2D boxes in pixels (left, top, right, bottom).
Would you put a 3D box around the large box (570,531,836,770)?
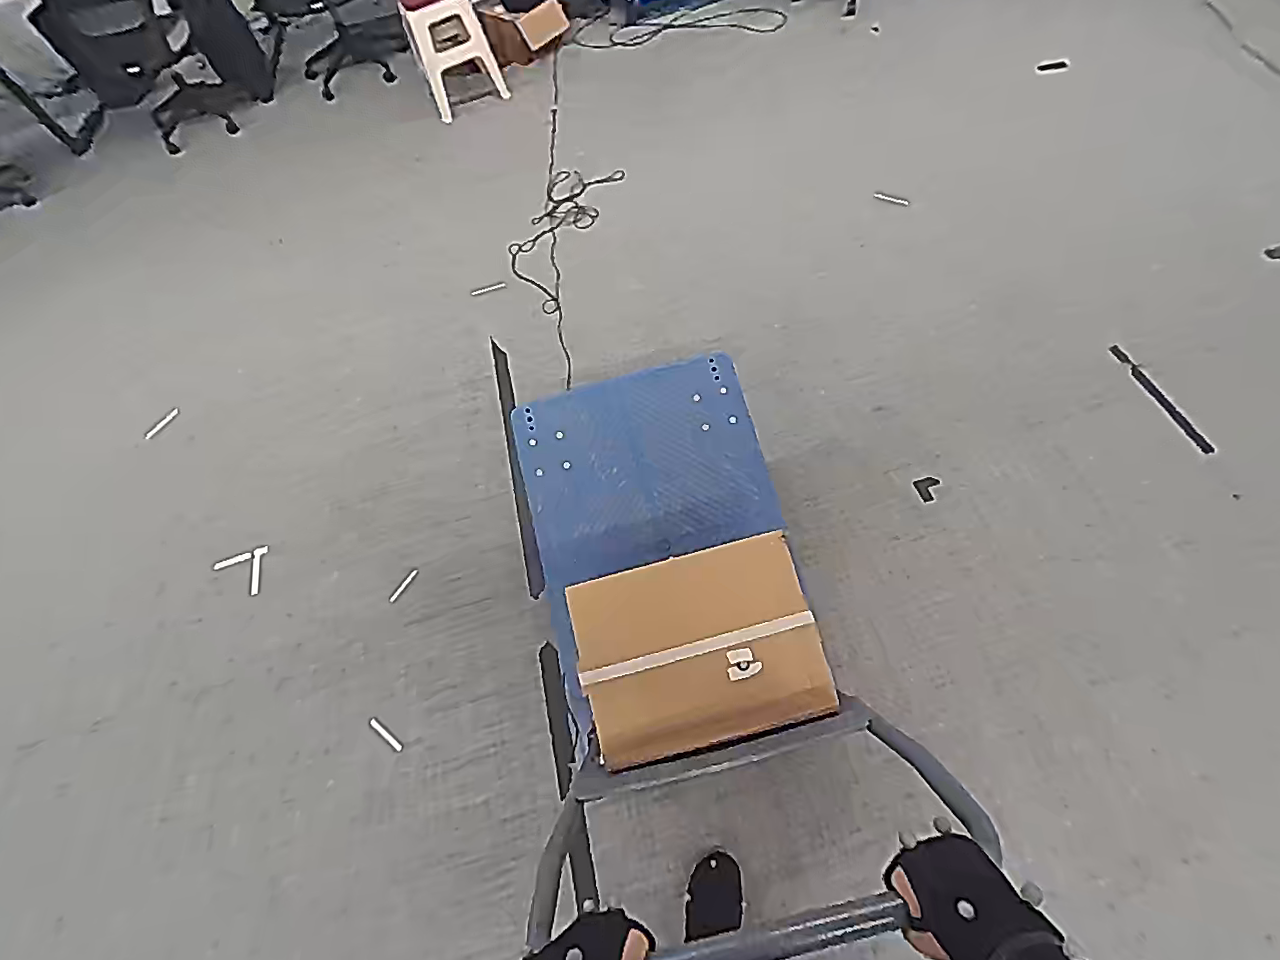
[{"bbox_3d":[0.109,0.326,1.088,0.408,0.320,0.320,-16,77,-1],"label":"large box"}]
